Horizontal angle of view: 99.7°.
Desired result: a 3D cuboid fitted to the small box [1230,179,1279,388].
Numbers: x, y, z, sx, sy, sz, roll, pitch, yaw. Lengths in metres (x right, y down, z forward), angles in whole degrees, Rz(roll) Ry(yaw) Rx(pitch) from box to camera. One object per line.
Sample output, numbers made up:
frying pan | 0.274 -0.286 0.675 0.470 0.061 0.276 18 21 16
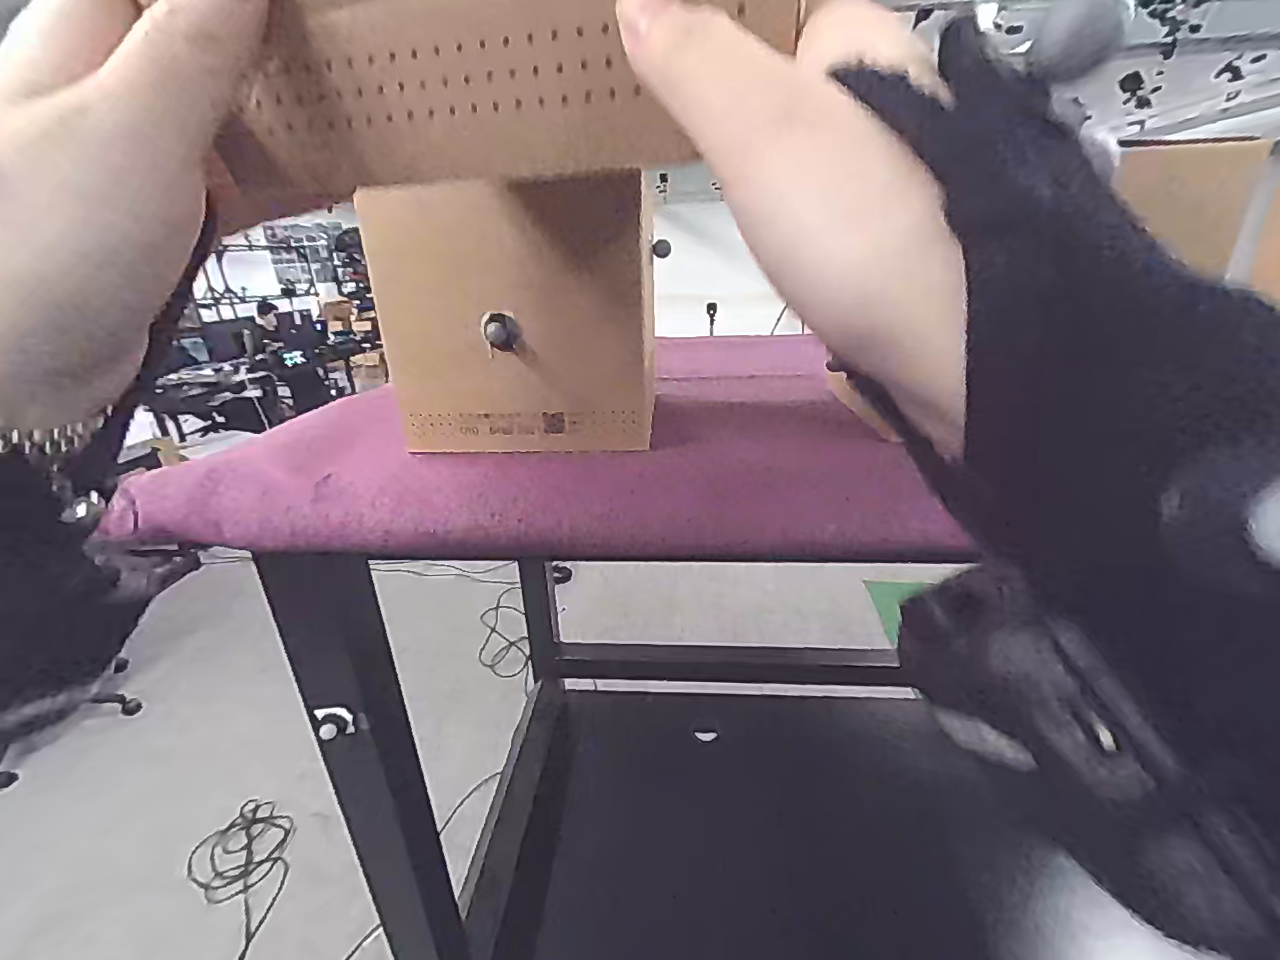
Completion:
small box | 0.595 -0.142 0.386 0.179 0.176 0.168 0 20 6

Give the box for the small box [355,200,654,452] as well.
small box | -0.075 -0.124 0.407 0.168 0.176 0.179 0 23 3

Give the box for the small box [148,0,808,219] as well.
small box | -0.039 -0.191 0.164 0.179 0.176 0.168 3 42 11
